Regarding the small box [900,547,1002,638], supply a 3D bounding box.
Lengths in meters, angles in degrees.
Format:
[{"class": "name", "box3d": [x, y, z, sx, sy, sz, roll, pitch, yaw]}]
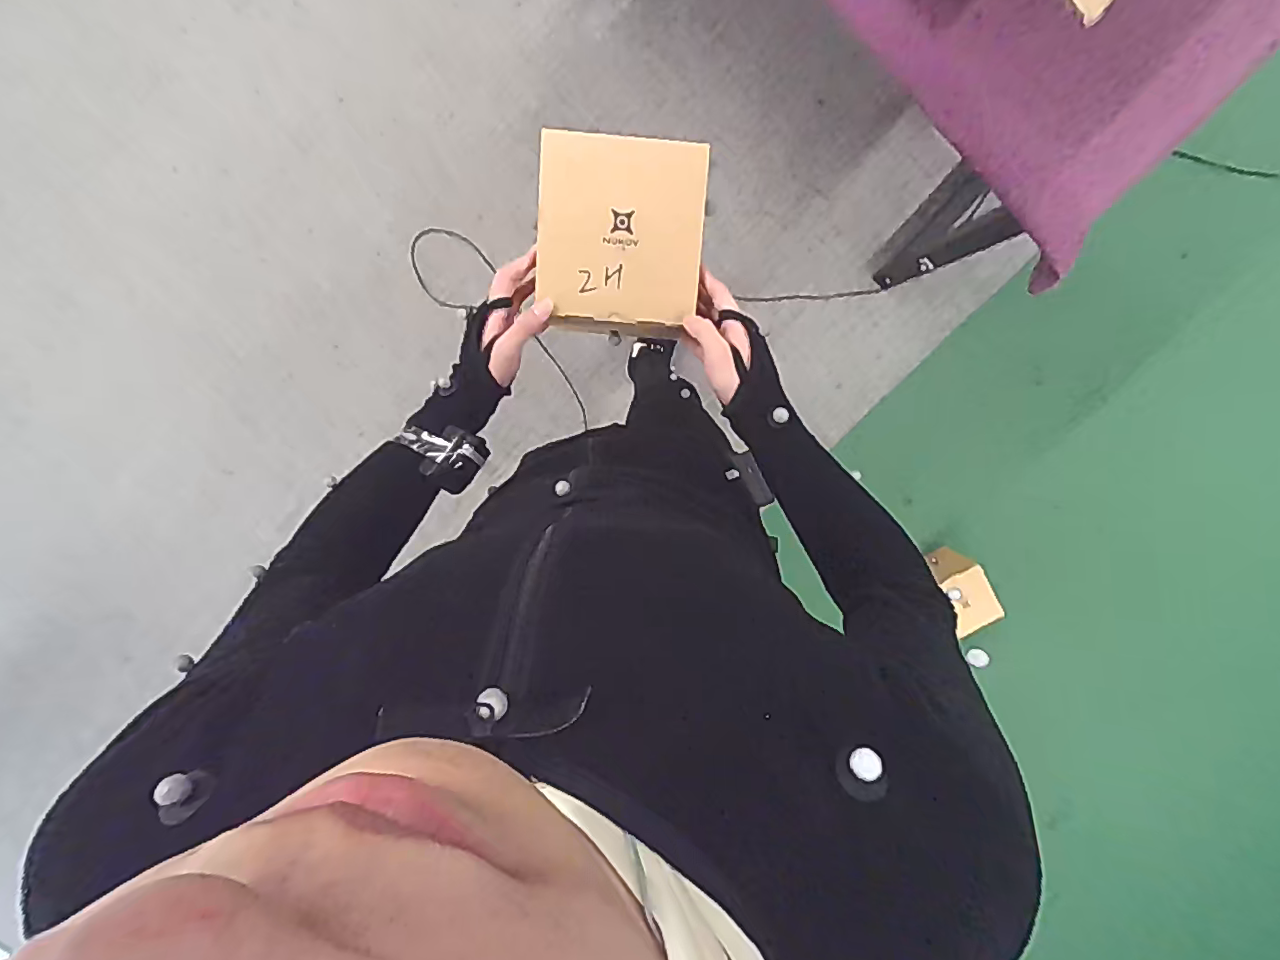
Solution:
[{"class": "small box", "box3d": [0.902, 0.322, 1.582, 0.168, 0.176, 0.179, -31, 98, 6]}]
